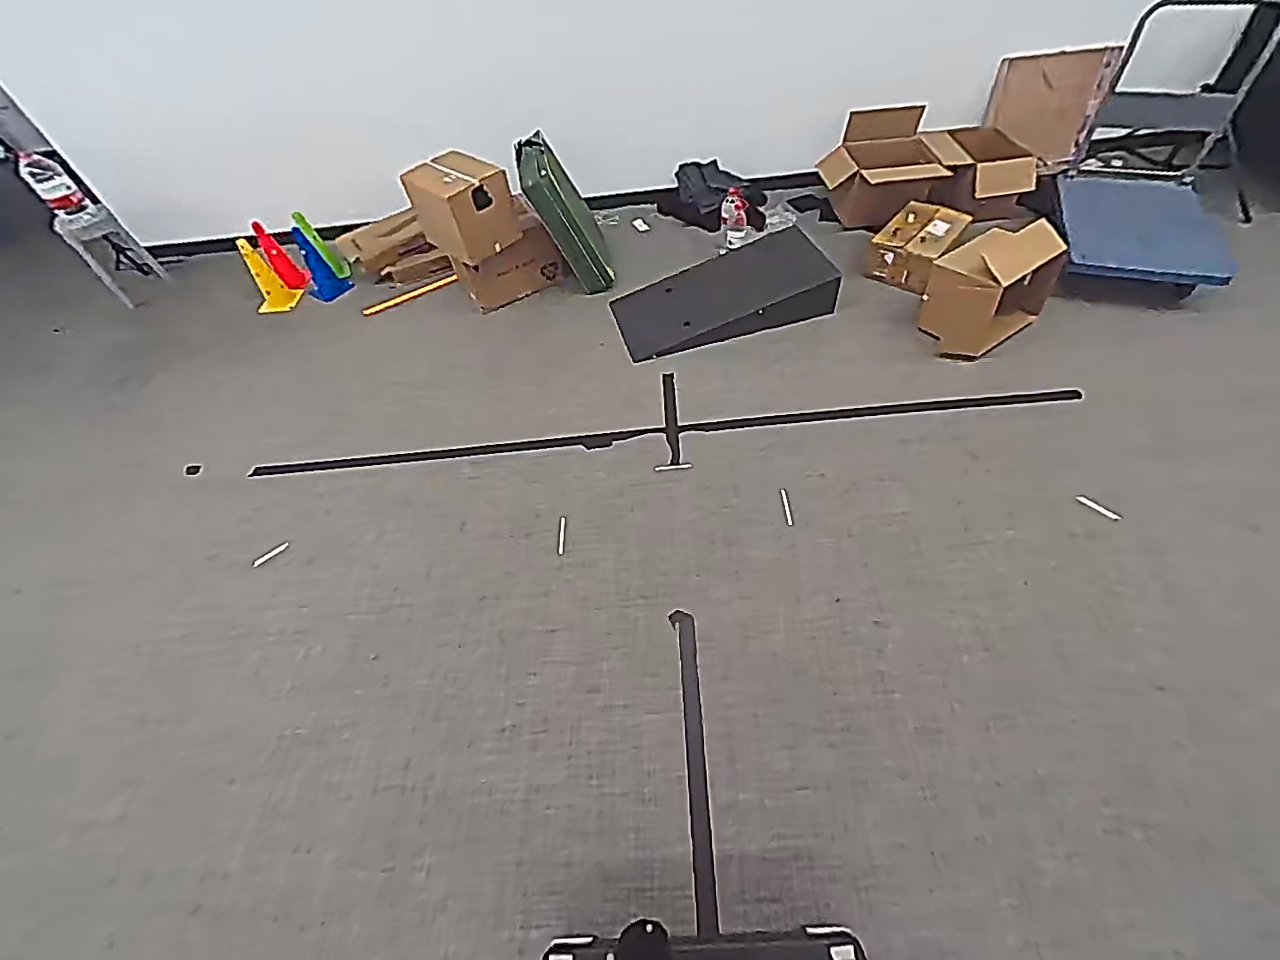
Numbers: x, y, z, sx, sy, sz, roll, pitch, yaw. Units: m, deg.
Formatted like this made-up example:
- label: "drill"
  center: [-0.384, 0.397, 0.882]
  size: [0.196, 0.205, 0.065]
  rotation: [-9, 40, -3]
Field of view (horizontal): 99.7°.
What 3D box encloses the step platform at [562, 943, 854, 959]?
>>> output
- label: "step platform"
  center: [0.121, 1.116, 1.059]
  size: [0.684, 0.204, 0.286]
  rotation: [-5, 52, 2]
